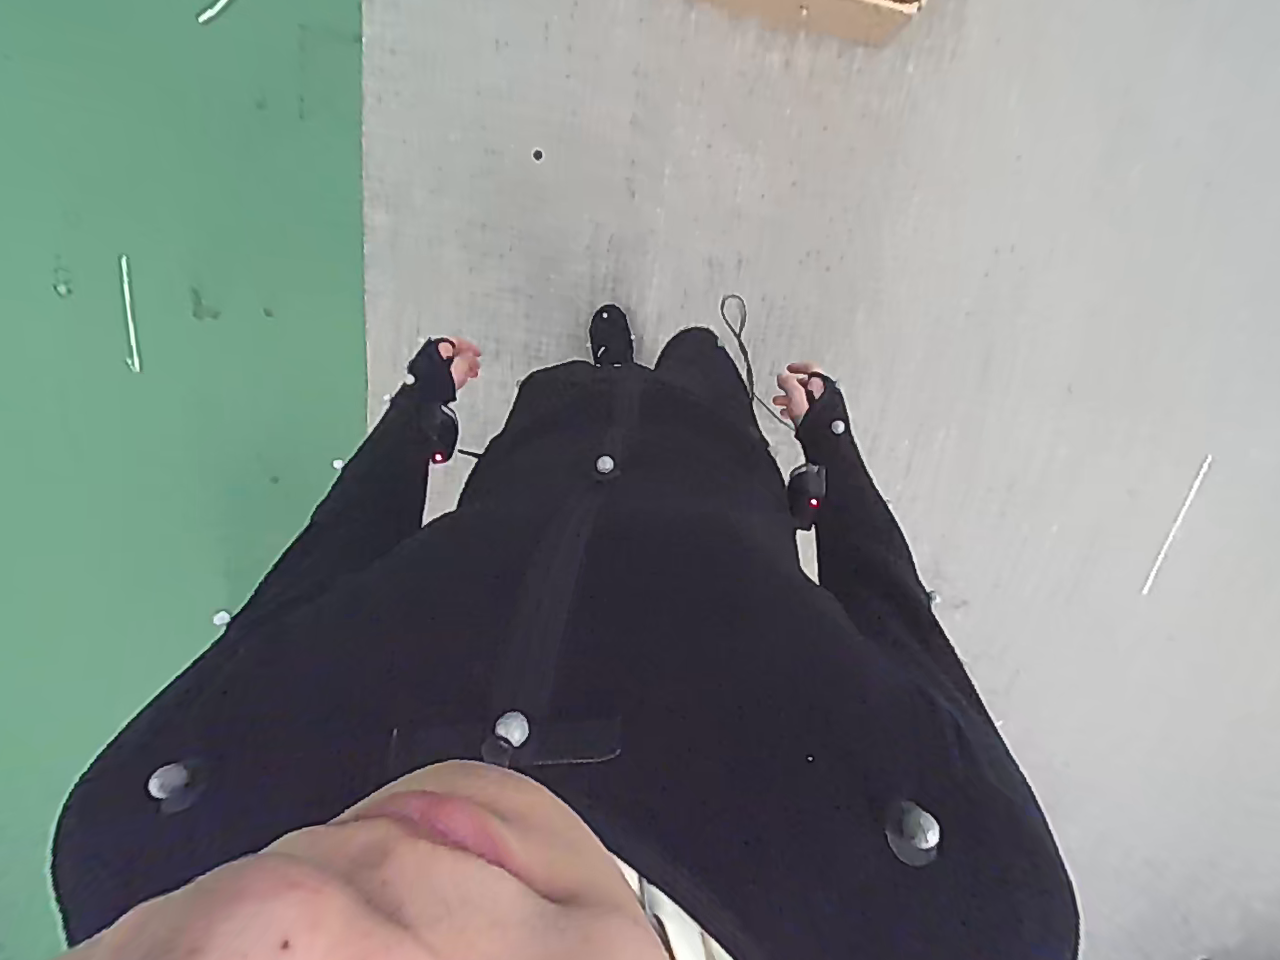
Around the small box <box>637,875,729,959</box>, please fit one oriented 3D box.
[{"bbox_3d":[0.083,0.953,1.099,0.168,0.176,0.179,5,107,-2],"label":"small box"}]
